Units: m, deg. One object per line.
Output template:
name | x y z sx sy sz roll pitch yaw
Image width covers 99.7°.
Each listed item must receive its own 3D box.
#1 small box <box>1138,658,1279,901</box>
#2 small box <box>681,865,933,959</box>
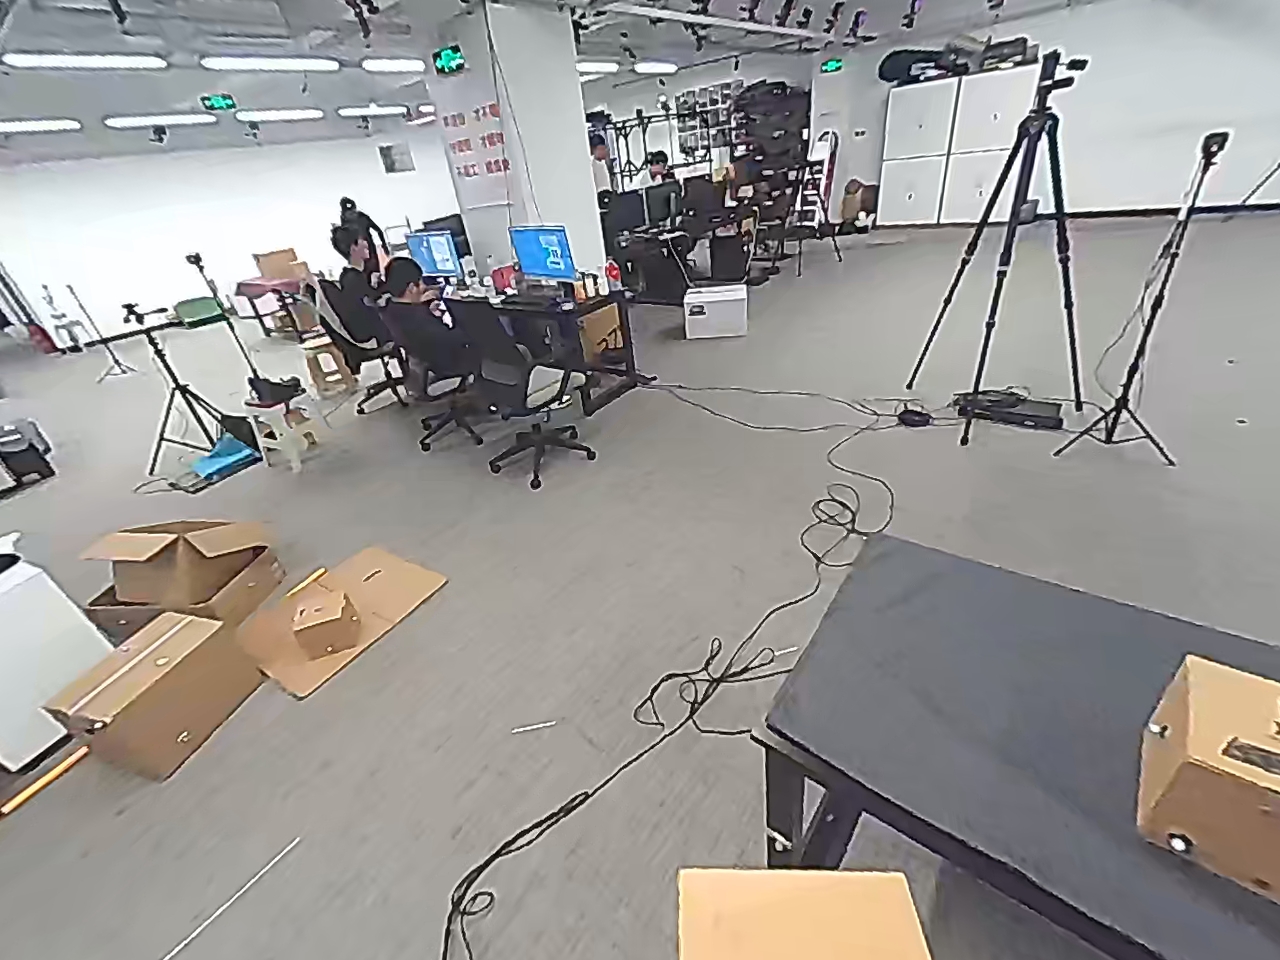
small box | 0.728 0.357 0.641 0.168 0.176 0.179 18 38 36
small box | 0.111 0.399 0.363 0.168 0.176 0.179 -2 31 5
